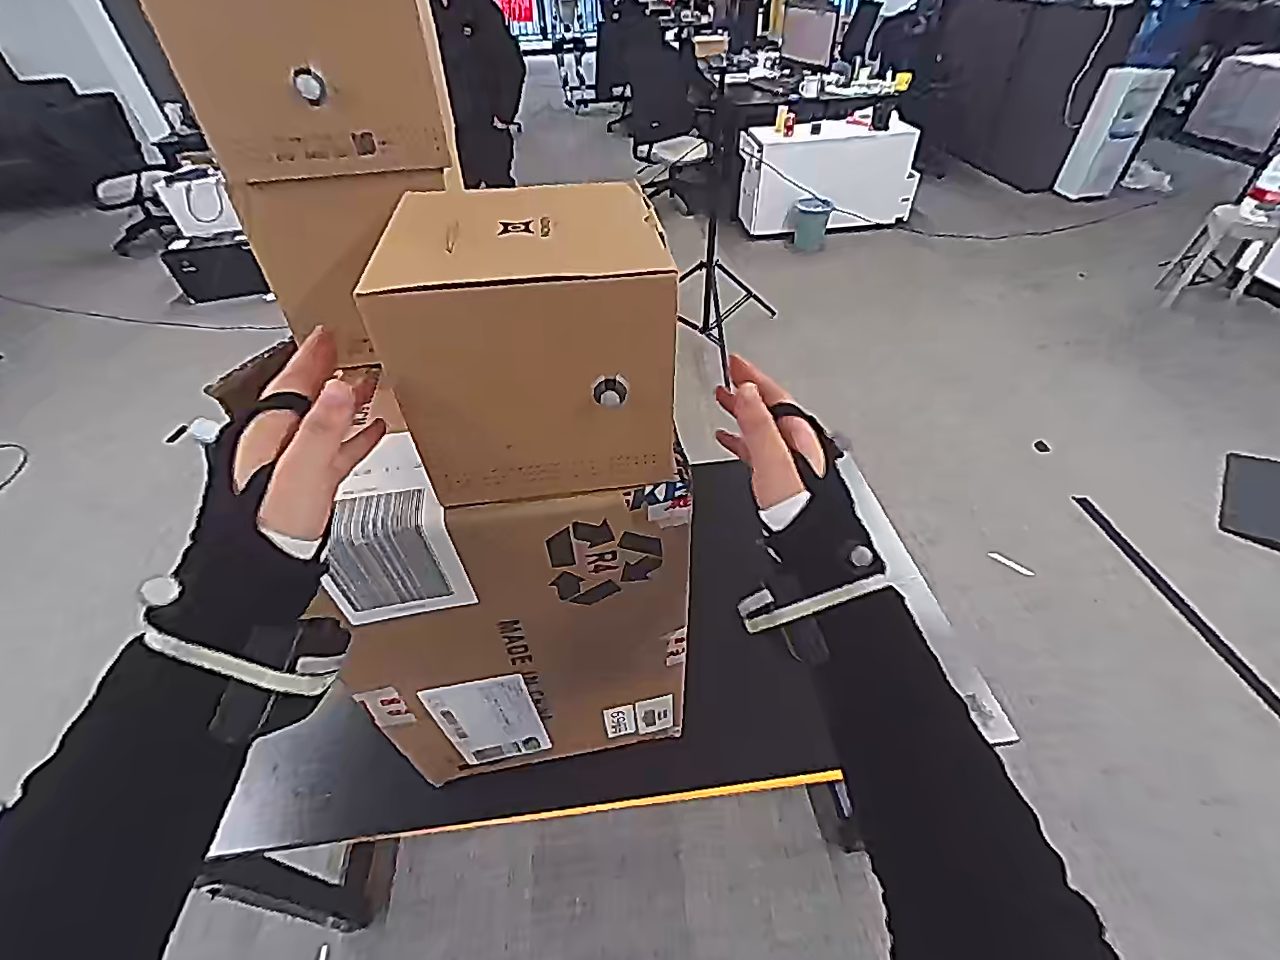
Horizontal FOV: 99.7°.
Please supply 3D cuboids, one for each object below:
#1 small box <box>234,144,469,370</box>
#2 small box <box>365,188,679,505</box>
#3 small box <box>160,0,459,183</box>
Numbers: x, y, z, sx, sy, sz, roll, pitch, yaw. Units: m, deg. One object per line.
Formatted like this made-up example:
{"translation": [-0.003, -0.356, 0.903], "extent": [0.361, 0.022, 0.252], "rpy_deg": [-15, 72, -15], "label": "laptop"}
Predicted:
{"translation": [-0.253, -0.231, 0.545], "extent": [0.168, 0.176, 0.179], "rpy_deg": [-9, 44, -8], "label": "small box"}
{"translation": [-0.073, -0.101, 0.411], "extent": [0.179, 0.176, 0.168], "rpy_deg": [-7, 44, -5], "label": "small box"}
{"translation": [-0.248, -0.348, 0.428], "extent": [0.168, 0.176, 0.179], "rpy_deg": [-10, 43, -9], "label": "small box"}
